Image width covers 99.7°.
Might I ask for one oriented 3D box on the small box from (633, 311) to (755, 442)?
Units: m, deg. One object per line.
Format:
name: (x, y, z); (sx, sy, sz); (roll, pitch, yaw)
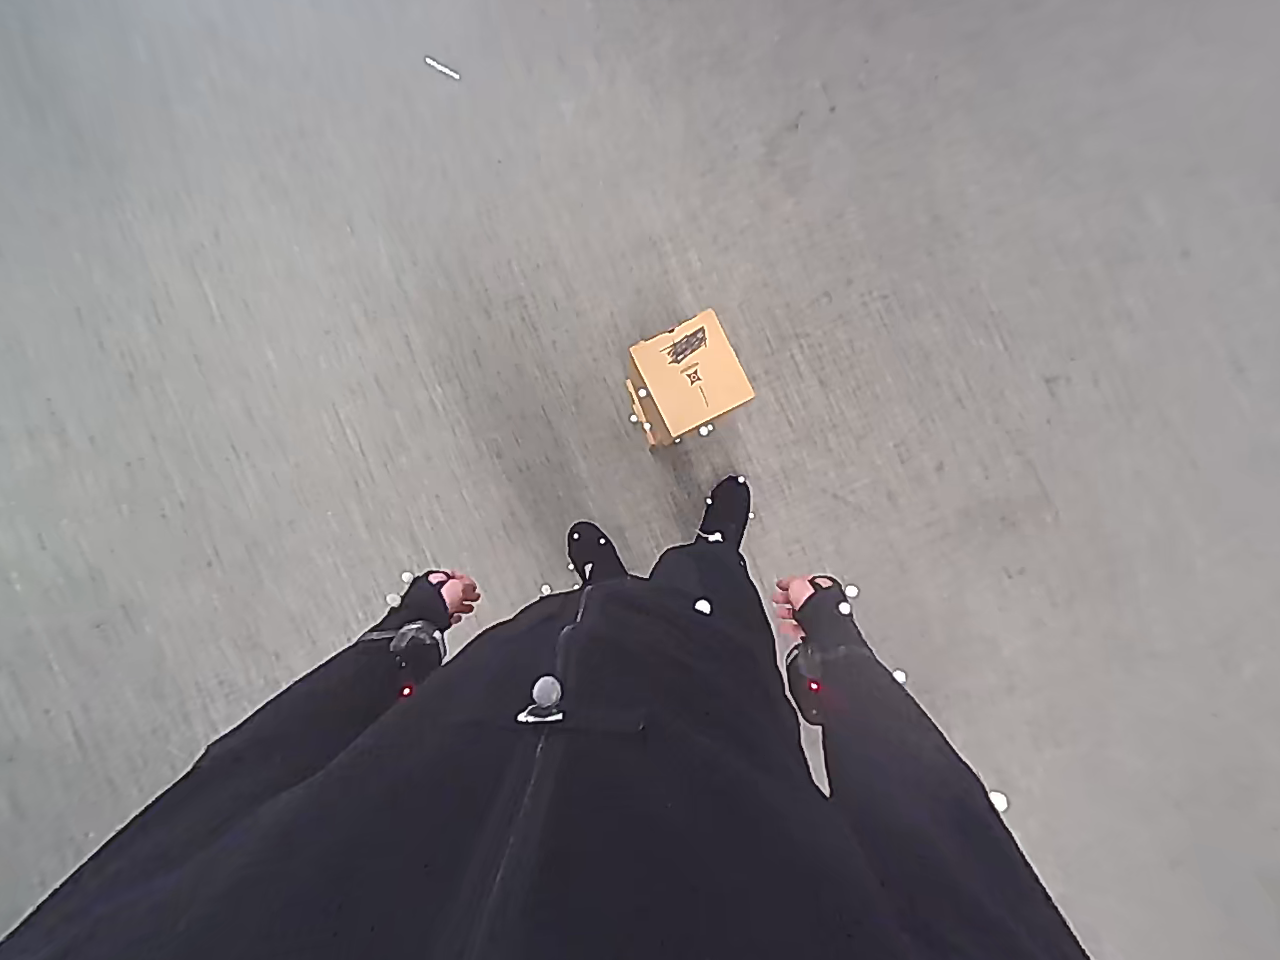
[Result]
small box: (0.091, -0.183, 1.010); (0.168, 0.176, 0.179); (-22, 90, -2)

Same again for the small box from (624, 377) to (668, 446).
small box: (0.070, -0.193, 1.358); (0.179, 0.176, 0.168); (-22, 89, -3)

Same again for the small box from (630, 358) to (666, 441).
small box: (0.084, -0.191, 1.177); (0.168, 0.176, 0.179); (-21, 89, -4)
